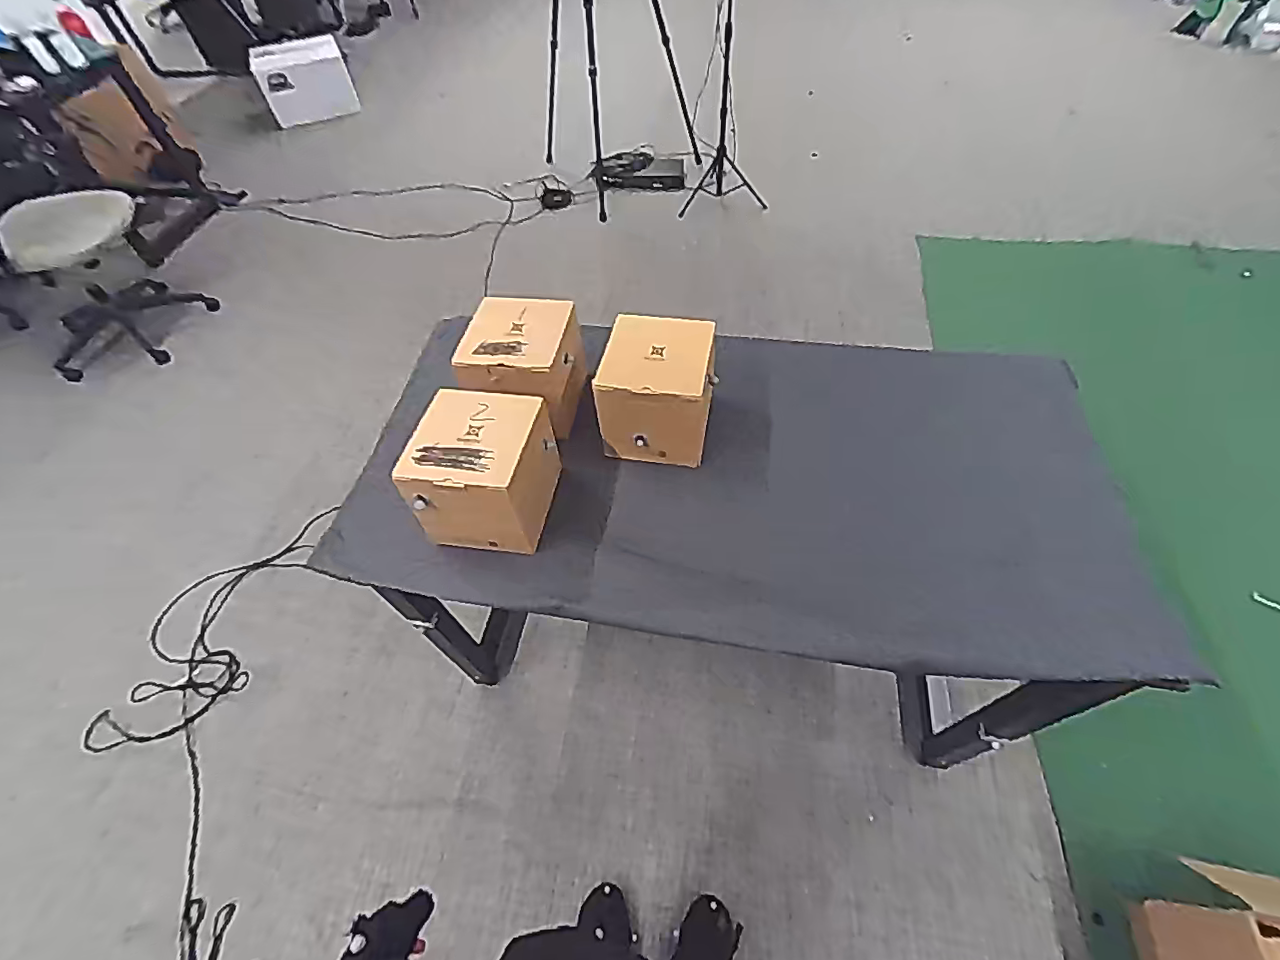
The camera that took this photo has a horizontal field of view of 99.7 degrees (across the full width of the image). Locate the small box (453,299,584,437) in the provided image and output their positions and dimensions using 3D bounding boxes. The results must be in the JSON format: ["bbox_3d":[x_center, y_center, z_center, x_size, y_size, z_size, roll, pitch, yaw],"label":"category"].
[{"bbox_3d":[-0.201,-0.194,0.956,0.168,0.176,0.179,5,54,7],"label":"small box"}]

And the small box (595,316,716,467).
[{"bbox_3d":[0.030,-0.147,0.909,0.168,0.176,0.179,8,55,9],"label":"small box"}]
